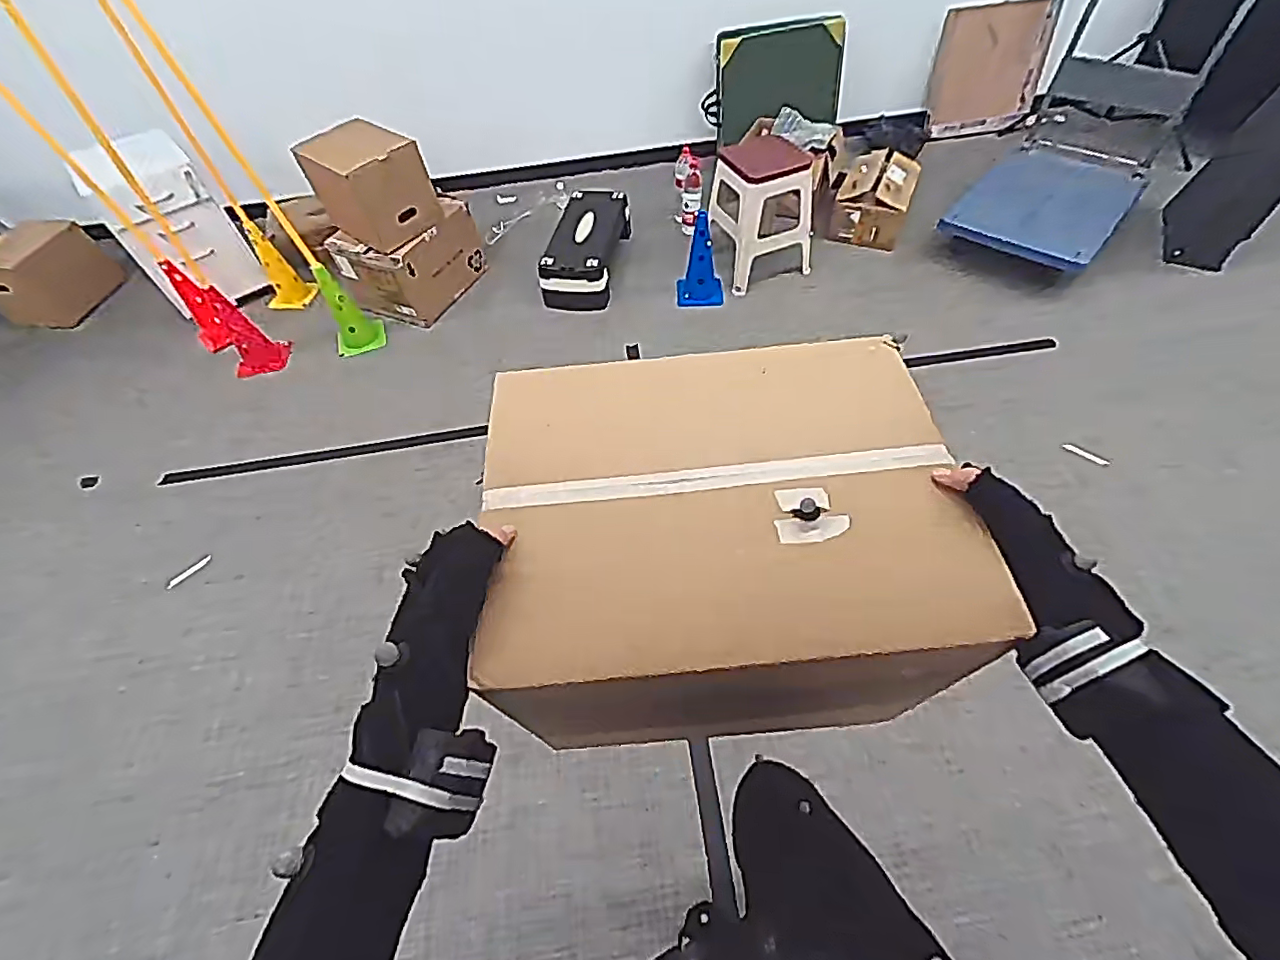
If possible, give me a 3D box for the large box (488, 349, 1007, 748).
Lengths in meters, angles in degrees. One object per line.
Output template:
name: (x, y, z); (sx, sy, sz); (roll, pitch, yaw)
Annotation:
large box: (0.075, 0.091, 0.609); (0.408, 0.320, 0.320); (-6, 56, 0)
